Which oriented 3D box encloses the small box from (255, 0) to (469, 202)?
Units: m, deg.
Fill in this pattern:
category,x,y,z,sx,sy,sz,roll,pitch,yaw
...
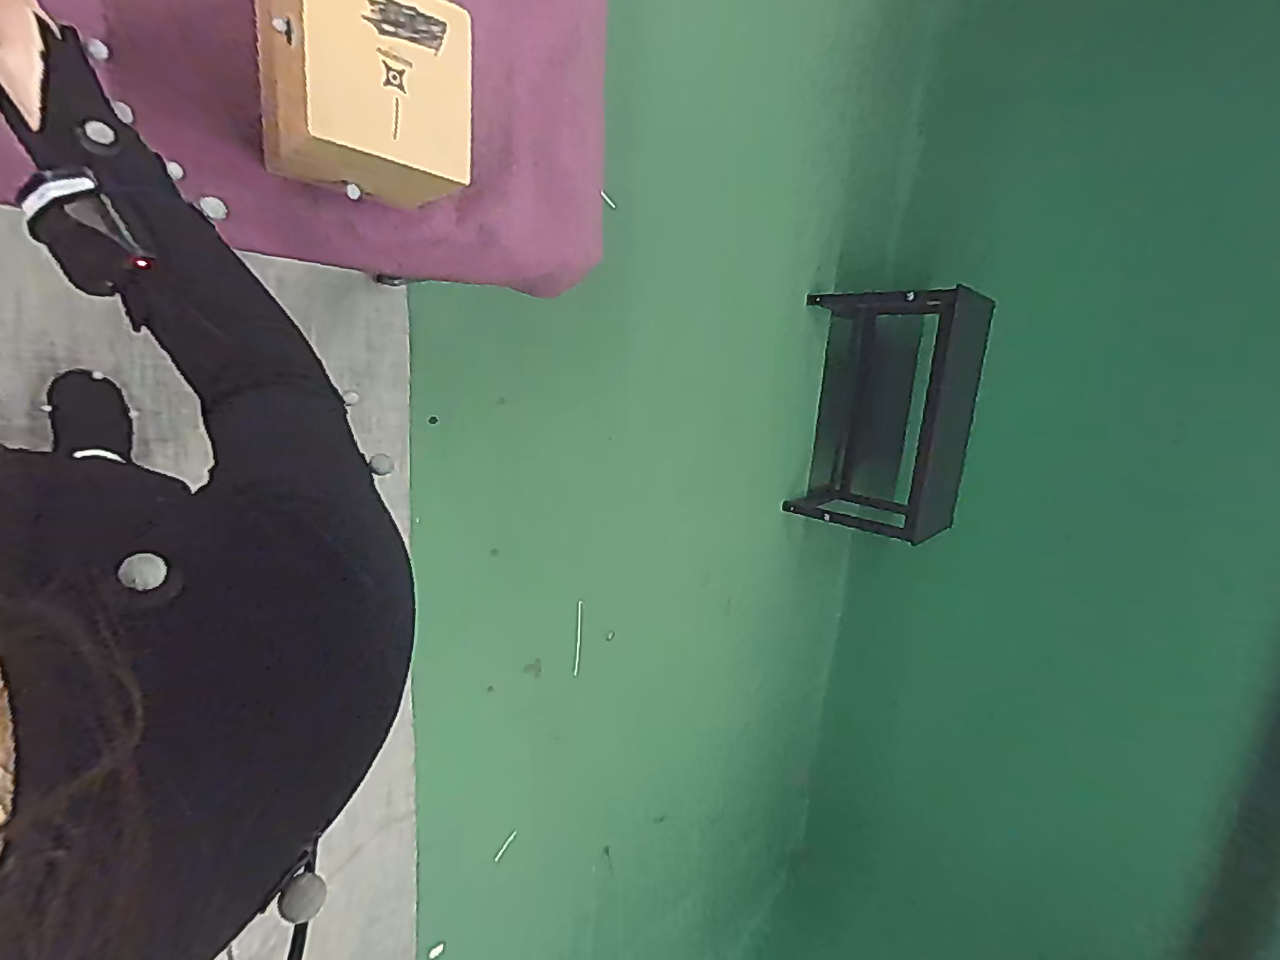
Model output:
category,x,y,z,sx,sy,sz,roll,pitch,yaw
small box,-0.306,-0.432,0.597,0.168,0.176,0.179,-7,106,-45
